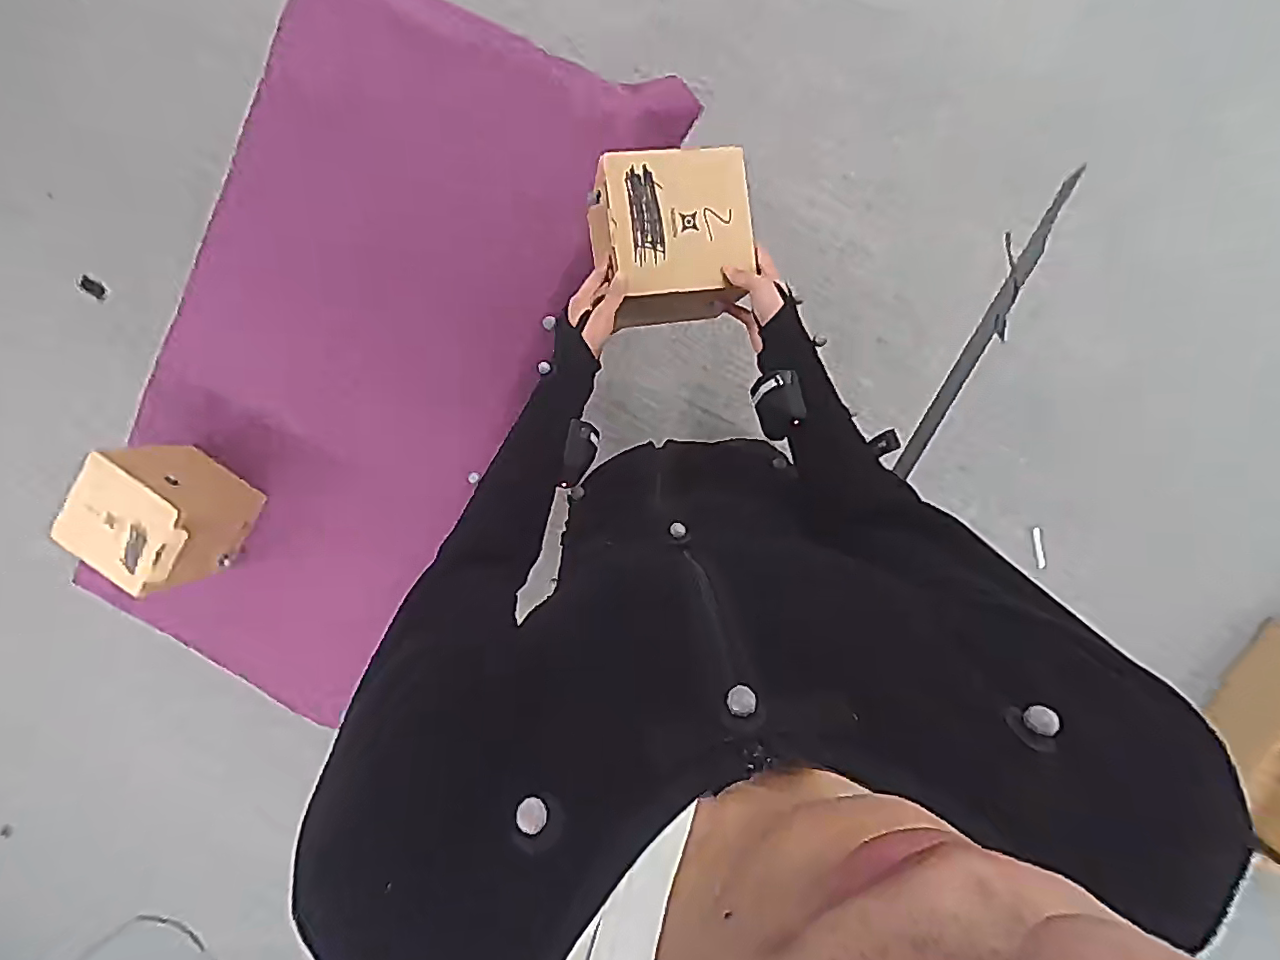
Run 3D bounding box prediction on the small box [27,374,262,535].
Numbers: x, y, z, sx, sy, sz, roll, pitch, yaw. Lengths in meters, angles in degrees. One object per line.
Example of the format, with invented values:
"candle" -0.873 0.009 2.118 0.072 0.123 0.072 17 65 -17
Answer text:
"small box" -0.750 -0.043 0.841 0.179 0.176 0.168 40 95 -2
